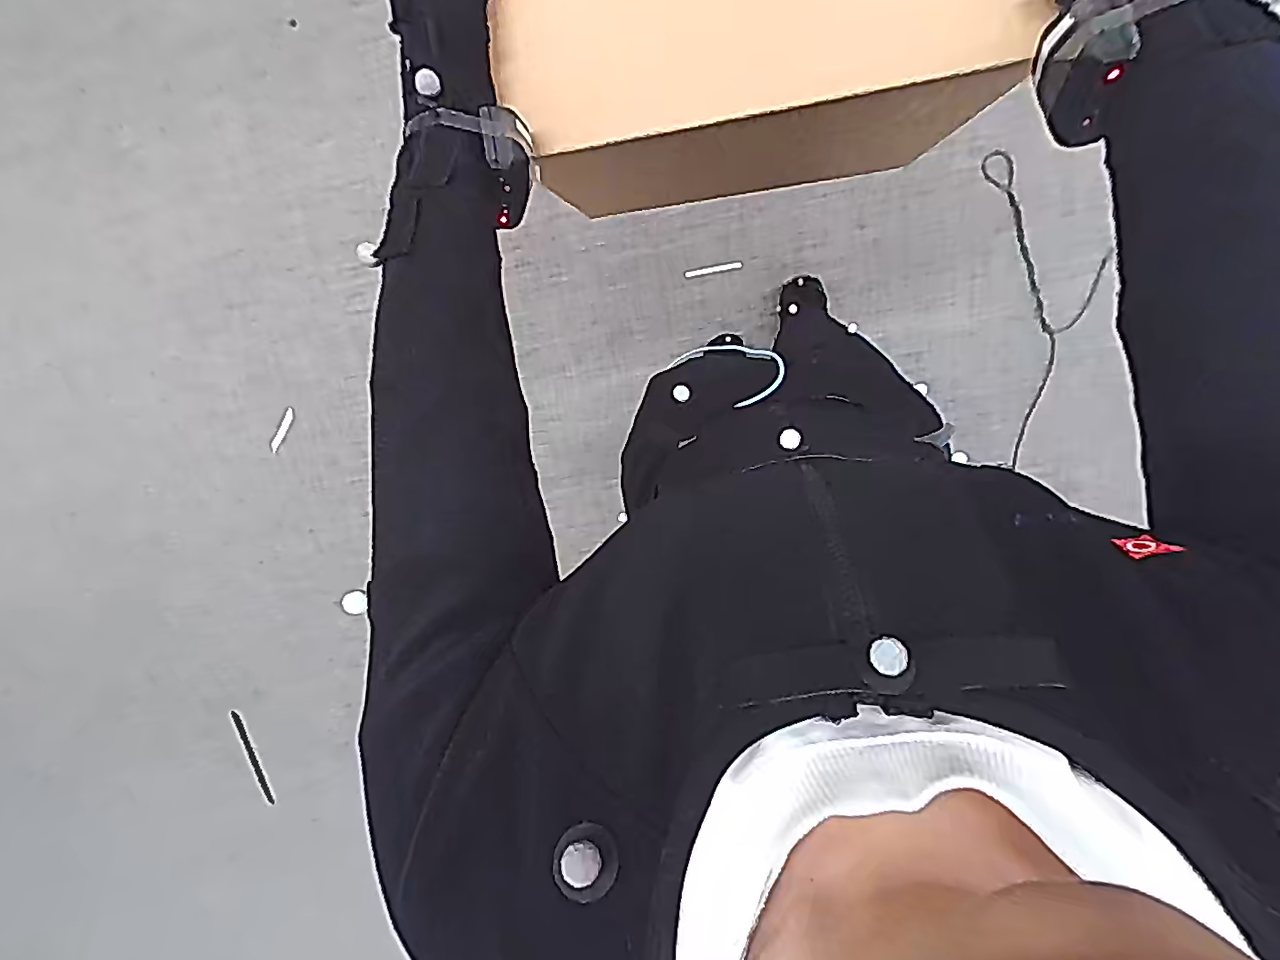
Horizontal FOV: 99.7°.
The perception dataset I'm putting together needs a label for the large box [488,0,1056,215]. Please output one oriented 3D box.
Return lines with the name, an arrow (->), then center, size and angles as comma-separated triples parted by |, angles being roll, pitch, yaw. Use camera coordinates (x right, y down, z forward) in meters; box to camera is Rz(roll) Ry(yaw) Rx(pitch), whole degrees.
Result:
large box -> 0.087, -0.474, 0.507 | 0.408, 0.320, 0.320 | -6, 107, 9
